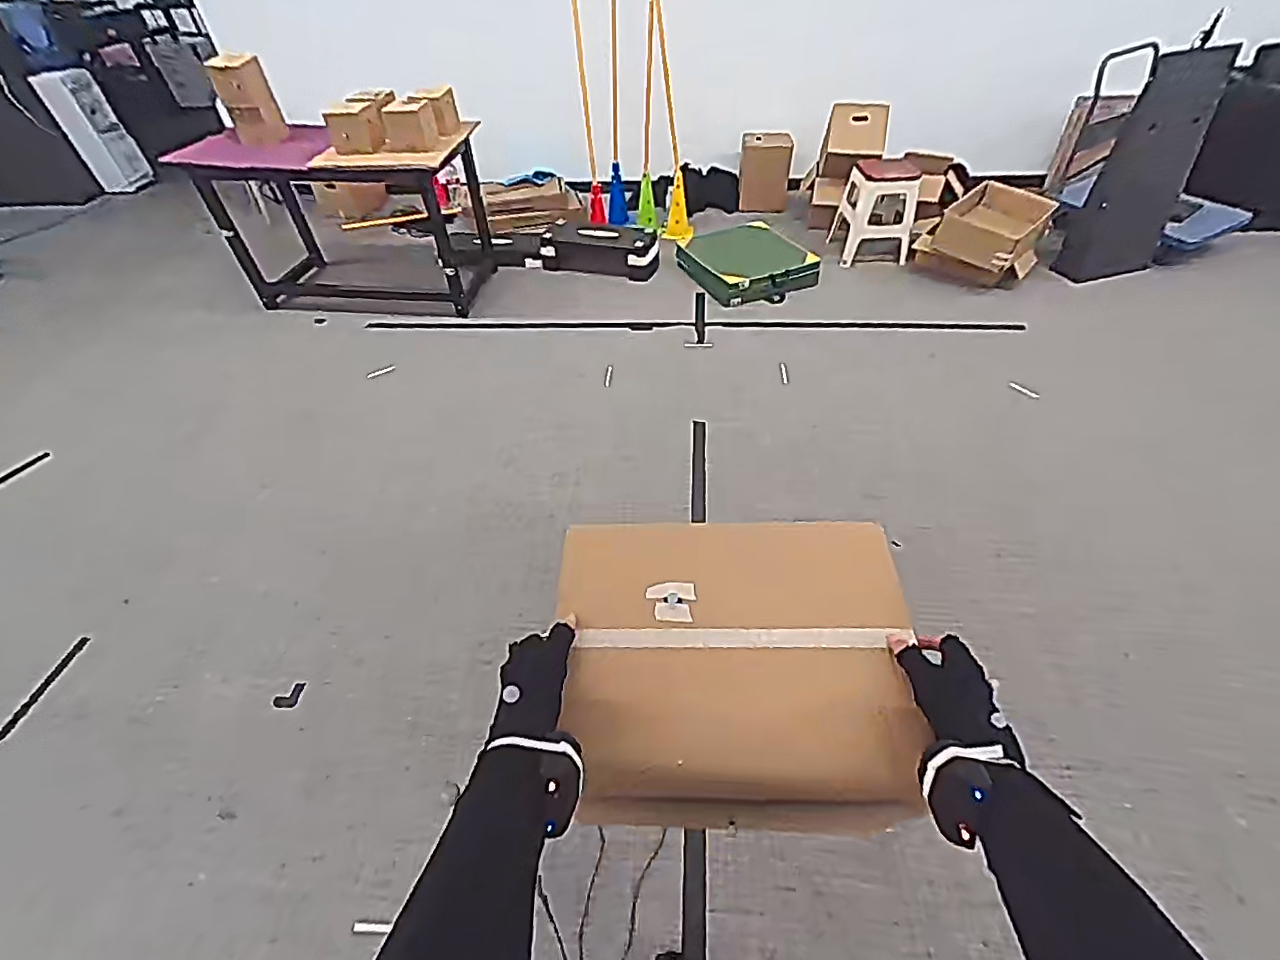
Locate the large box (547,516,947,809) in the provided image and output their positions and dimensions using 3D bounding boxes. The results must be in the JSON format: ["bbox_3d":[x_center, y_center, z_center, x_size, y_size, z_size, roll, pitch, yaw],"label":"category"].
[{"bbox_3d":[0.116,0.263,0.742,0.408,0.320,0.320,-1,53,4],"label":"large box"}]
